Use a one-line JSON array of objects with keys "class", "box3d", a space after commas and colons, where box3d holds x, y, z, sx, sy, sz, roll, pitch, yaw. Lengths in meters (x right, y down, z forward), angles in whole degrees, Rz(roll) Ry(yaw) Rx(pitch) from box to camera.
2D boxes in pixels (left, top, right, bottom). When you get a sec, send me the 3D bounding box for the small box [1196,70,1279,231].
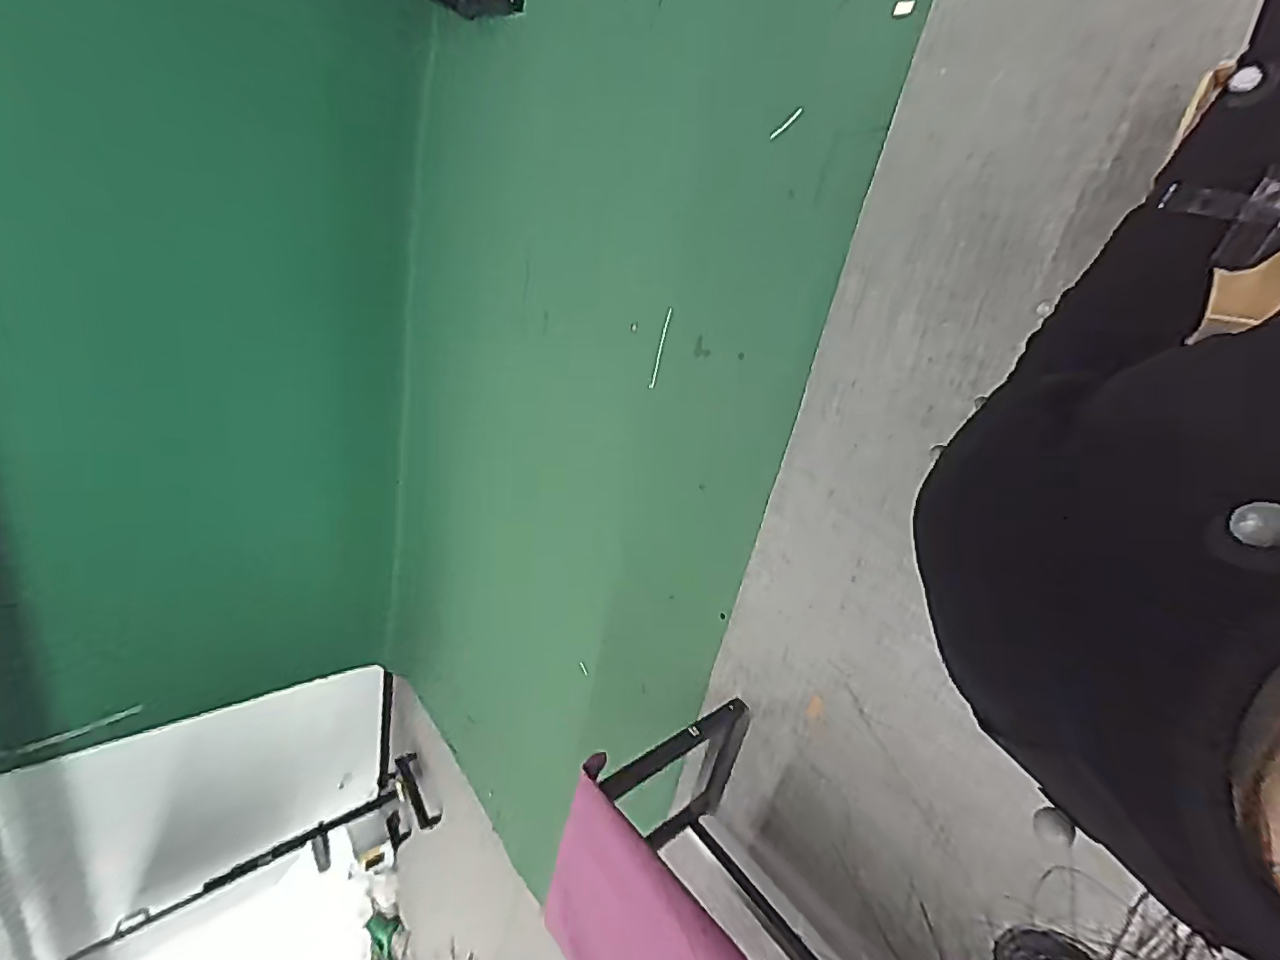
[{"class": "small box", "box3d": [0.954, -0.461, 0.774, 0.168, 0.176, 0.179, 29, 118, 40]}]
